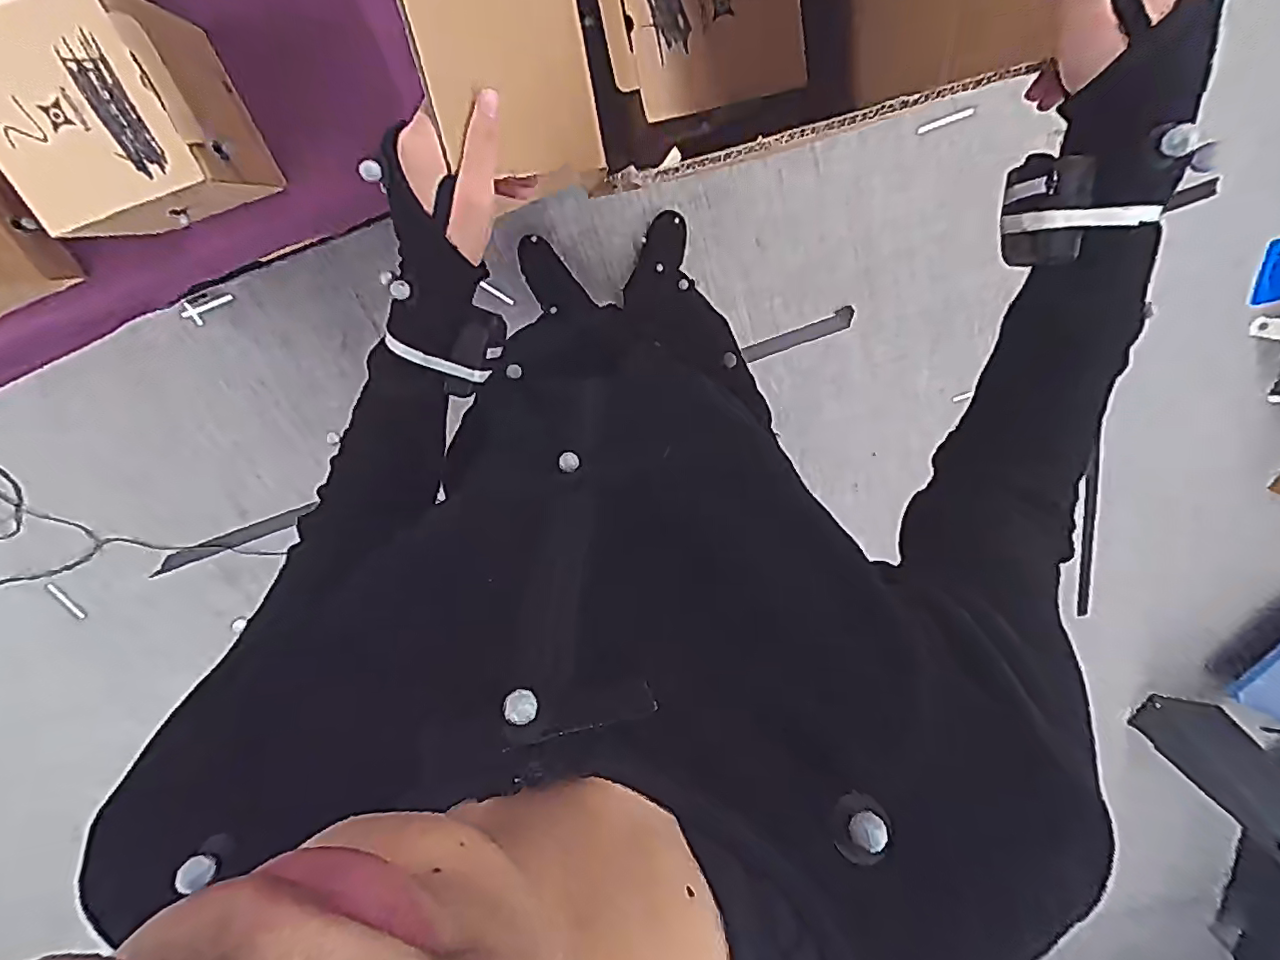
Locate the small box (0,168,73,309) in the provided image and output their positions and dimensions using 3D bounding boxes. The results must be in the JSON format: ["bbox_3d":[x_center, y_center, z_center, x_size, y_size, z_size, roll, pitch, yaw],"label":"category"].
[{"bbox_3d":[-0.796,-0.259,0.575,0.179,0.176,0.168,-22,118,1],"label":"small box"}]
